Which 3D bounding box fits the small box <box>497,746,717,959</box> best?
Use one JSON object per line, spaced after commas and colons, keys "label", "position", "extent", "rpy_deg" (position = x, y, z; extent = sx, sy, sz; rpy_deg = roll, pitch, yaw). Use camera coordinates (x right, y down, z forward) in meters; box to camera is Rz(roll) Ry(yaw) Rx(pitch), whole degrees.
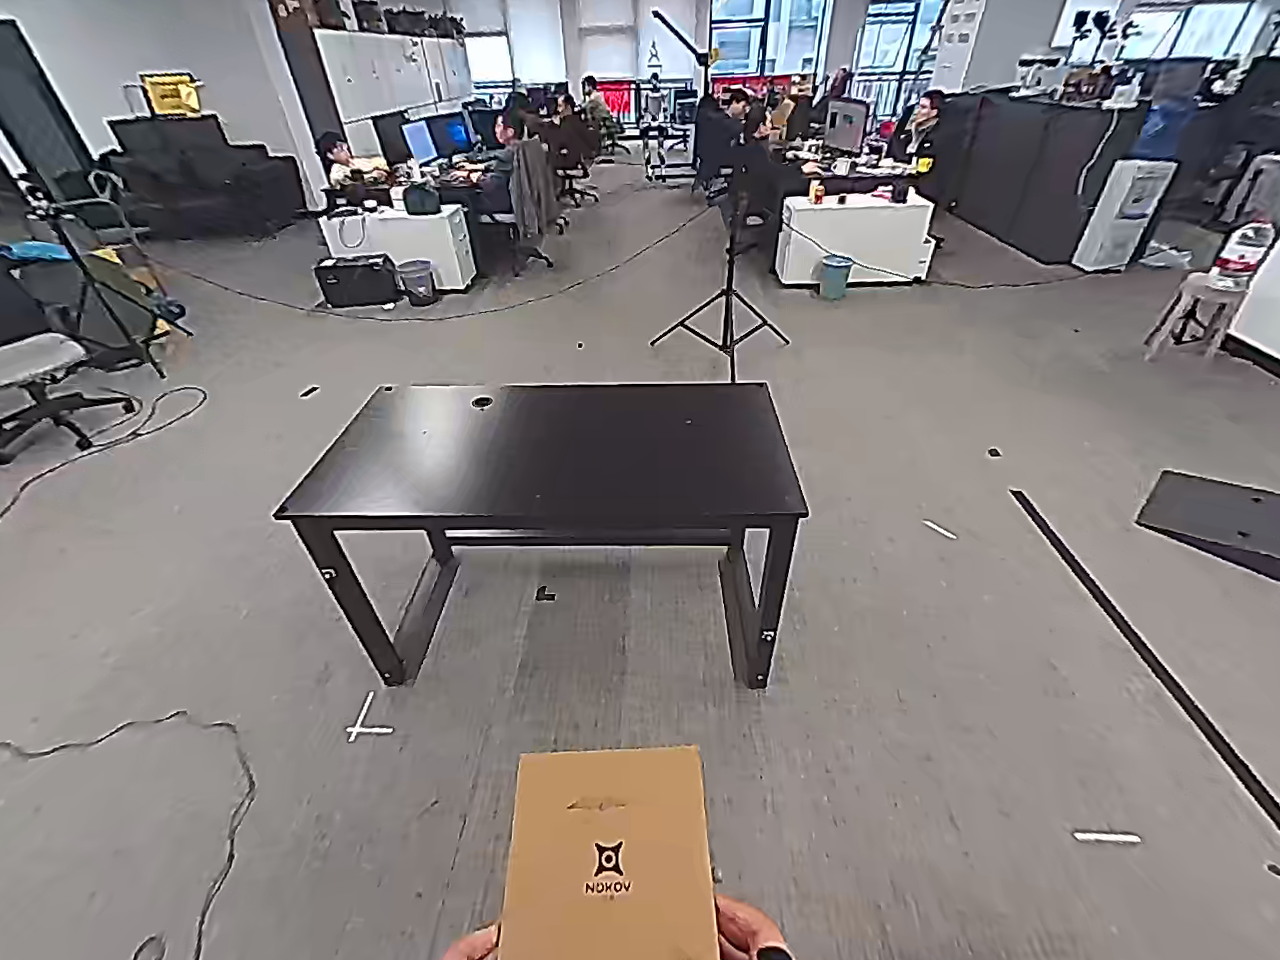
{"label": "small box", "position": [-0.023, 0.365, 0.493], "extent": [0.168, 0.176, 0.179], "rpy_deg": [-3, 45, -1]}
